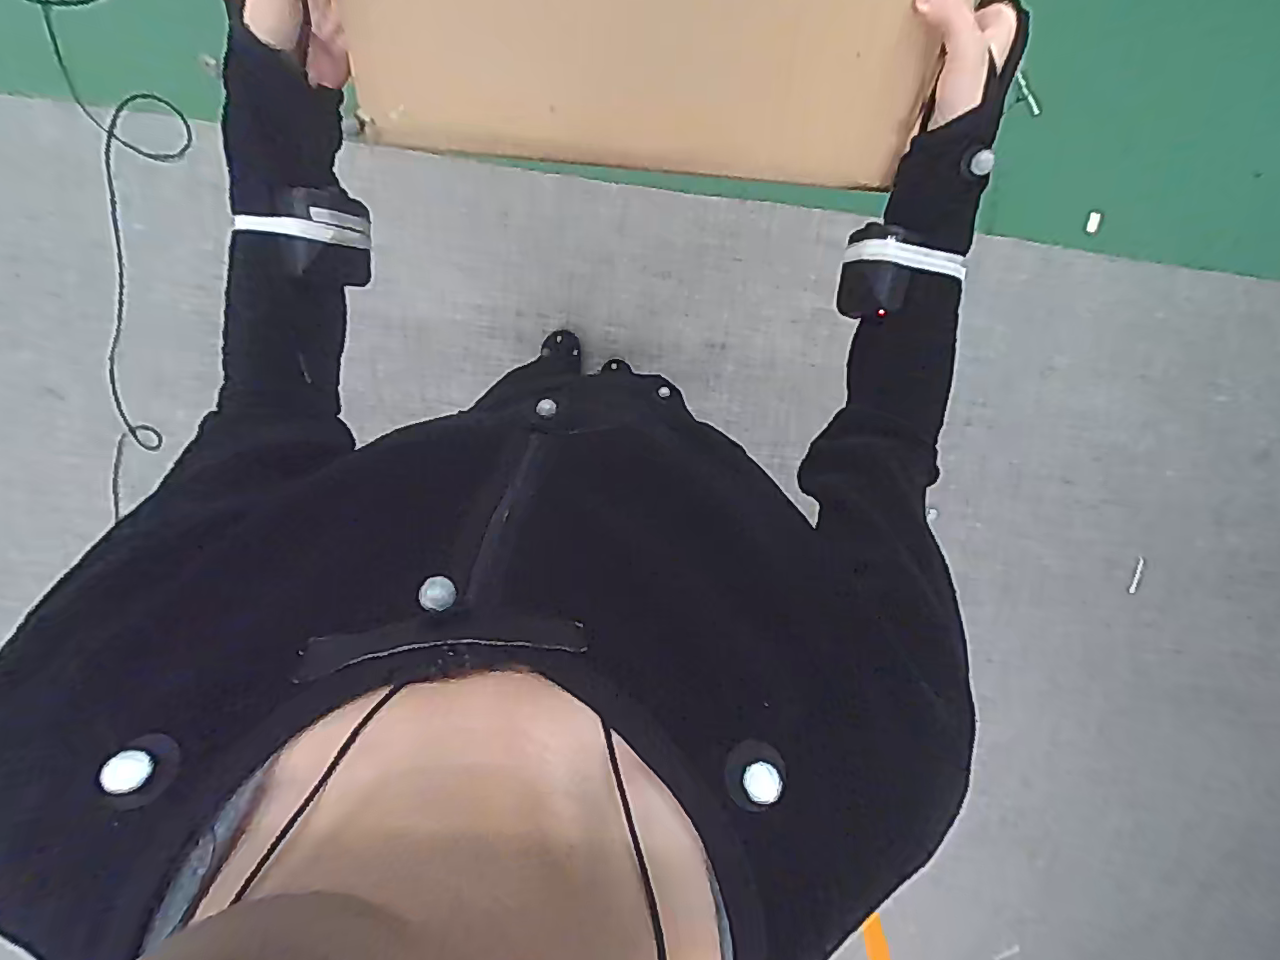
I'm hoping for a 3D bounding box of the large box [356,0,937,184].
[{"bbox_3d":[0.009,-0.462,0.452,0.408,0.320,0.320,3,127,-4],"label":"large box"}]
